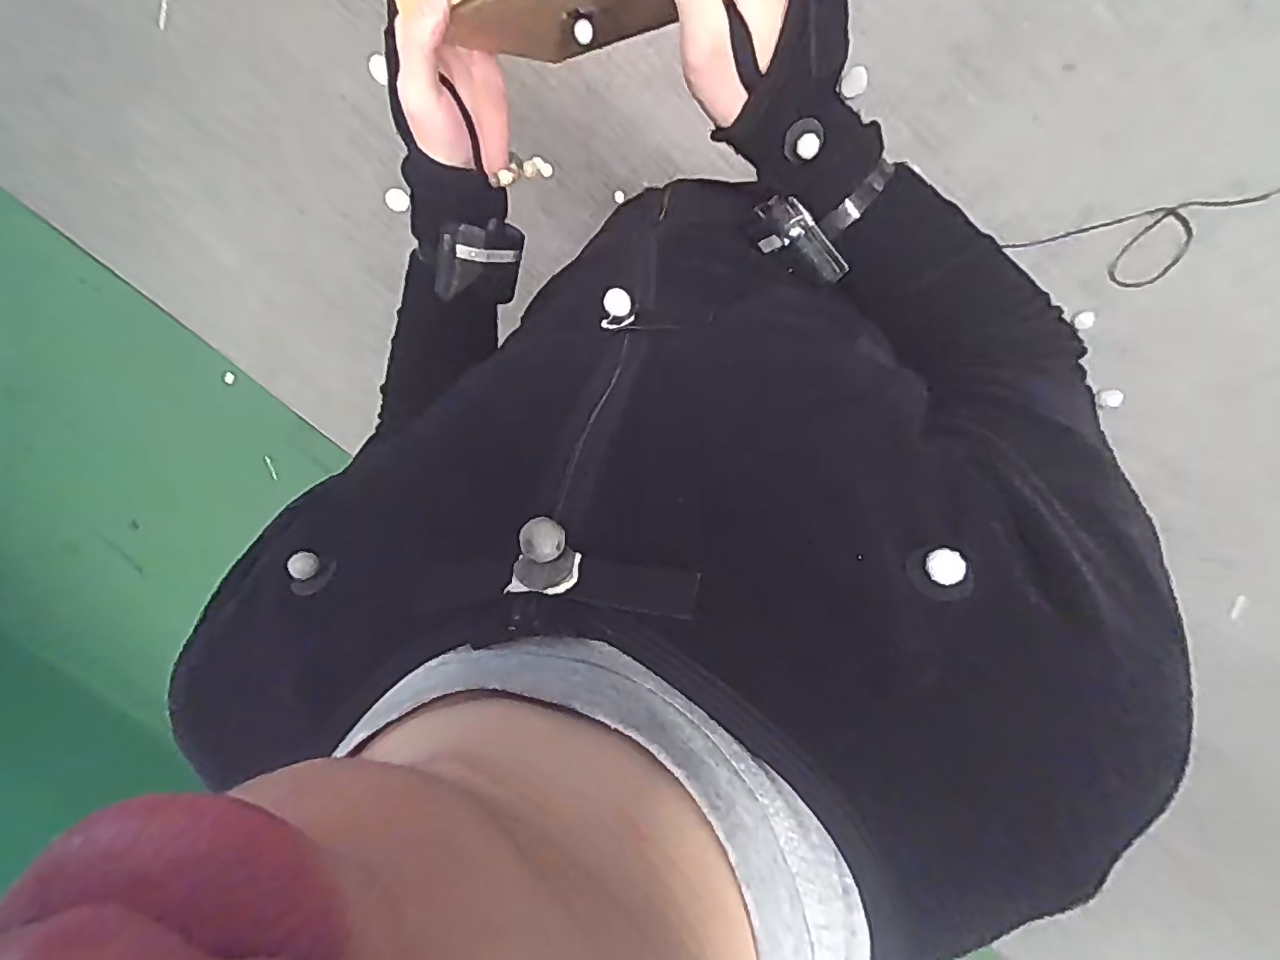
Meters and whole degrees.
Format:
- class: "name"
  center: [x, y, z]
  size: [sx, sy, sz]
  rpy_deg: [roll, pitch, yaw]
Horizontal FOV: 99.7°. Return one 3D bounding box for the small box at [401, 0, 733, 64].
- class: "small box"
  center: [-0.037, -0.364, 0.305]
  size: [0.179, 0.176, 0.168]
  rpy_deg: [3, 120, 27]
